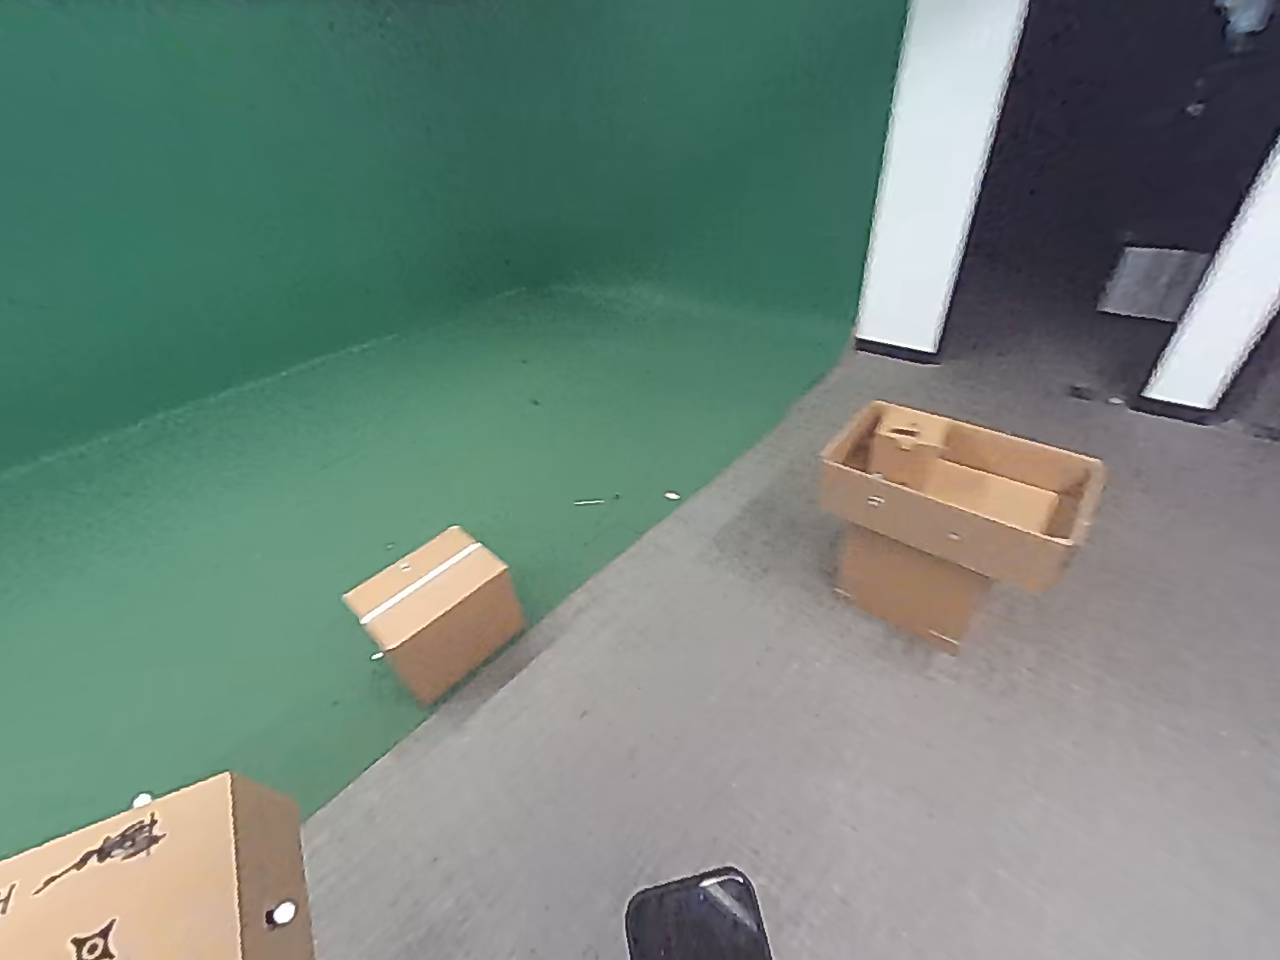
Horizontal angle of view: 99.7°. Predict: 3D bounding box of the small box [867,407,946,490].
[{"bbox_3d":[0.791,-0.094,1.616,0.168,0.176,0.179,19,43,28],"label":"small box"}]
